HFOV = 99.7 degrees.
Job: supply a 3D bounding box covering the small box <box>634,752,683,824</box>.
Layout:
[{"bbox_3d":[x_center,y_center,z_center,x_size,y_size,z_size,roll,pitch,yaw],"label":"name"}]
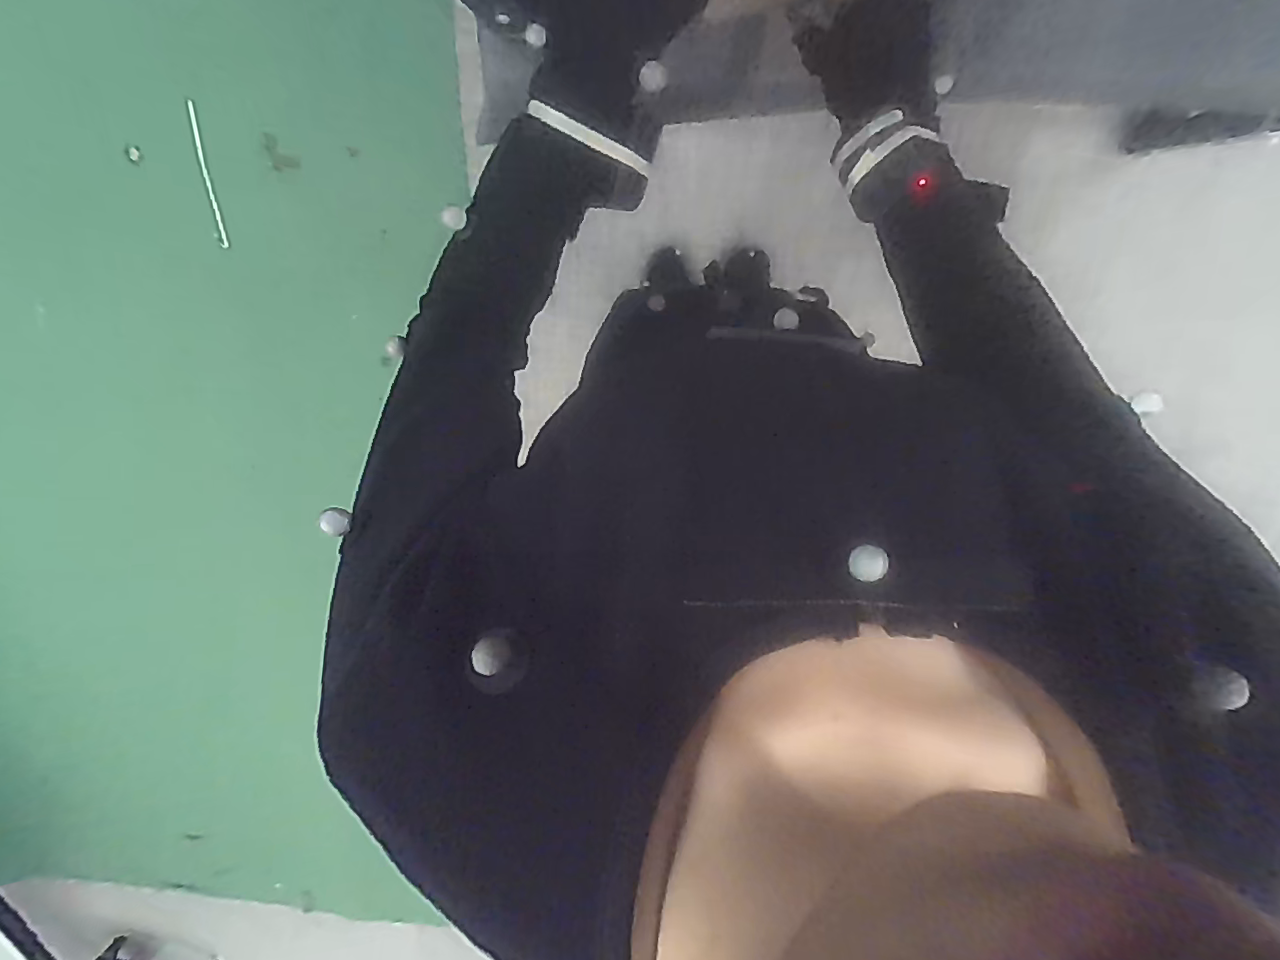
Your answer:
[{"bbox_3d":[0.071,1.123,1.979,0.168,0.176,0.179,-3,114,8],"label":"small box"}]
